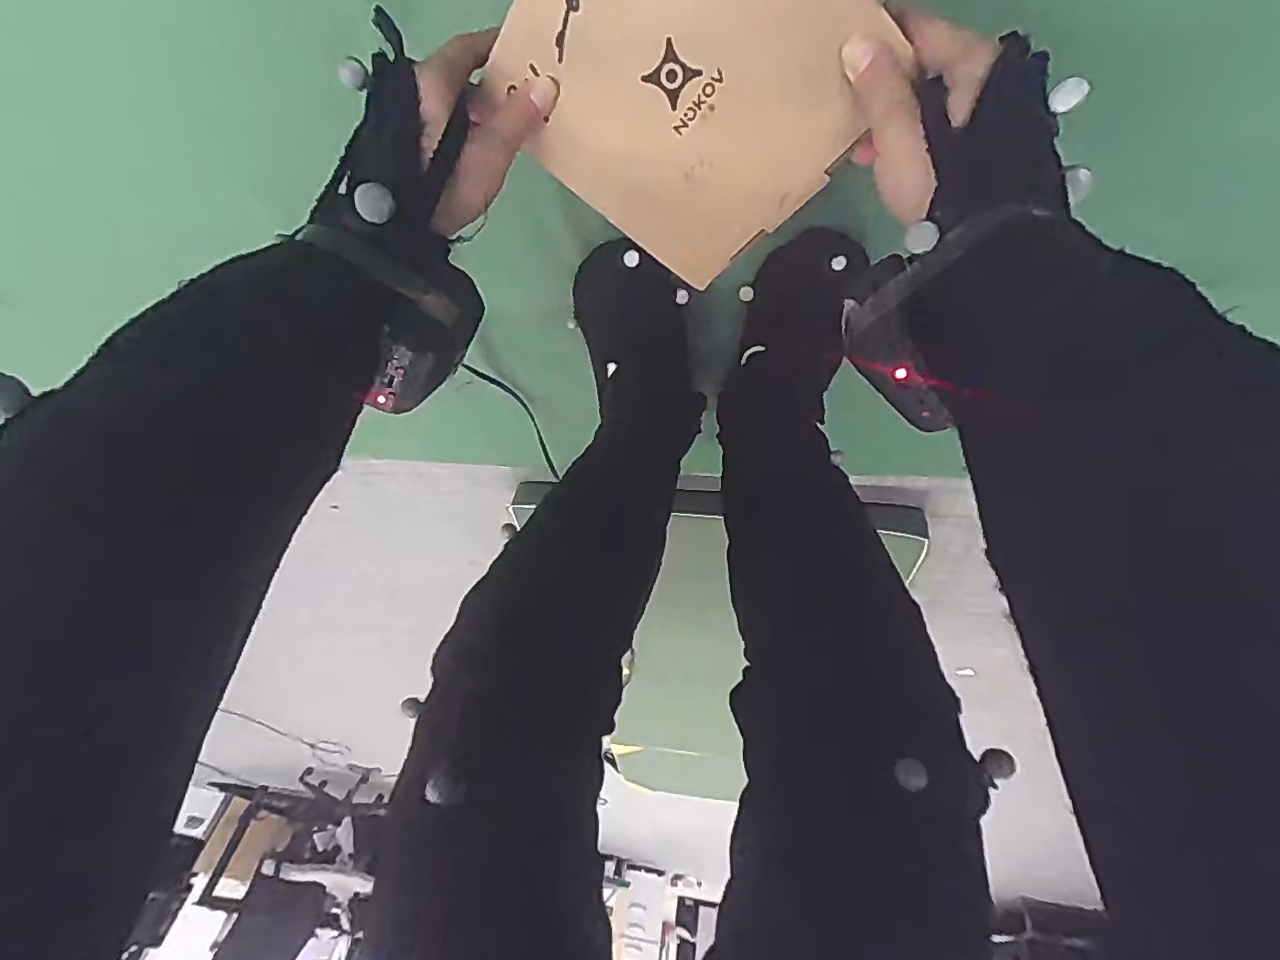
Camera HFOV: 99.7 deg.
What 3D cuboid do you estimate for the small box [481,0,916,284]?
[{"bbox_3d":[0.037,-0.270,0.332,0.179,0.176,0.168,30,140,-26],"label":"small box"}]
